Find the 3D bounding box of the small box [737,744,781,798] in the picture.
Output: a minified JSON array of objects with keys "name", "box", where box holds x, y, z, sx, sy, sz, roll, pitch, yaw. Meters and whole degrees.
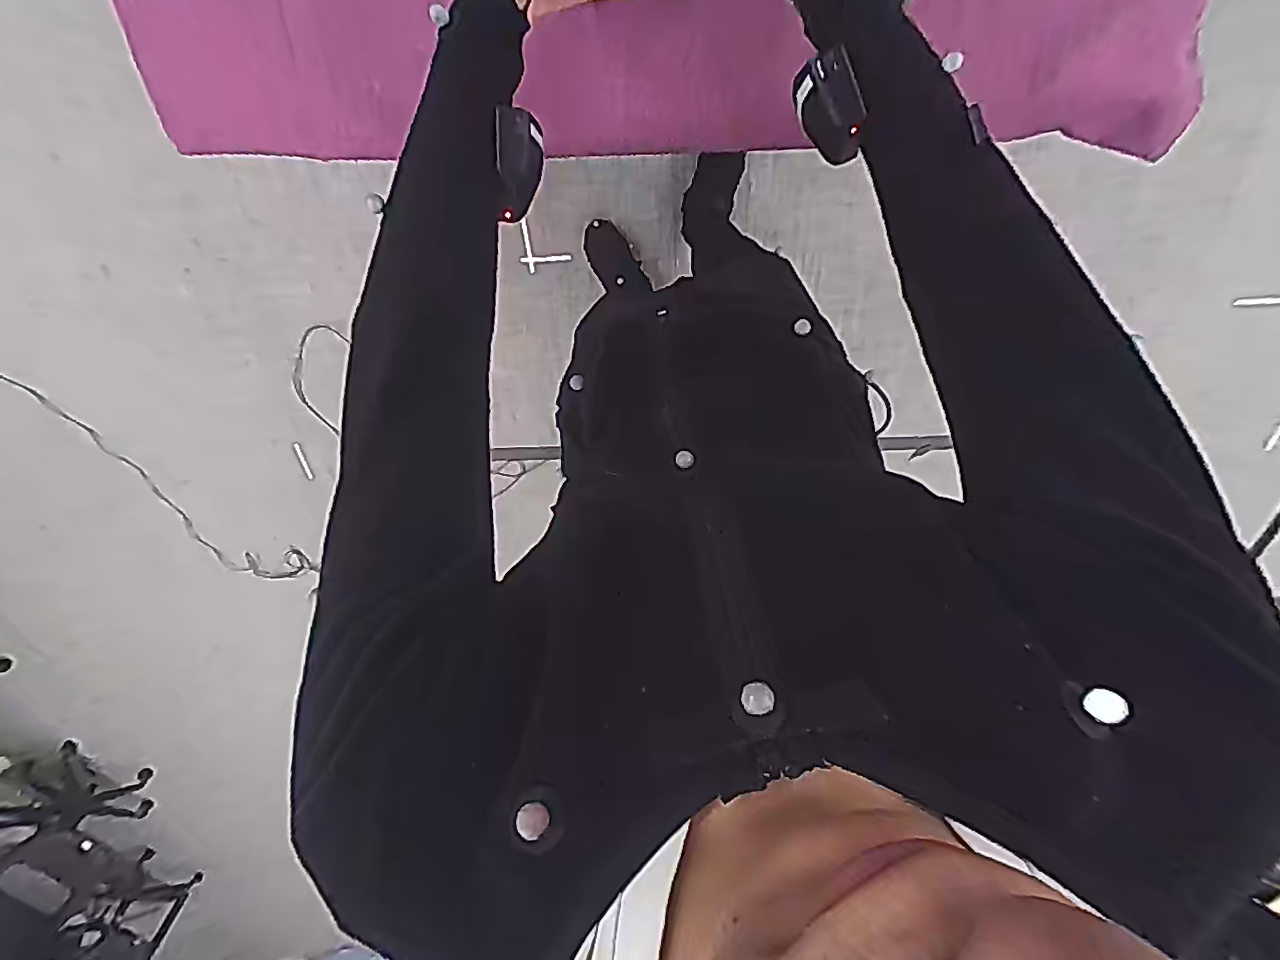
[{"name":"small box","box":[0.527,1.299,2.396,0.168,0.176,0.179,-7,123,4]}]
